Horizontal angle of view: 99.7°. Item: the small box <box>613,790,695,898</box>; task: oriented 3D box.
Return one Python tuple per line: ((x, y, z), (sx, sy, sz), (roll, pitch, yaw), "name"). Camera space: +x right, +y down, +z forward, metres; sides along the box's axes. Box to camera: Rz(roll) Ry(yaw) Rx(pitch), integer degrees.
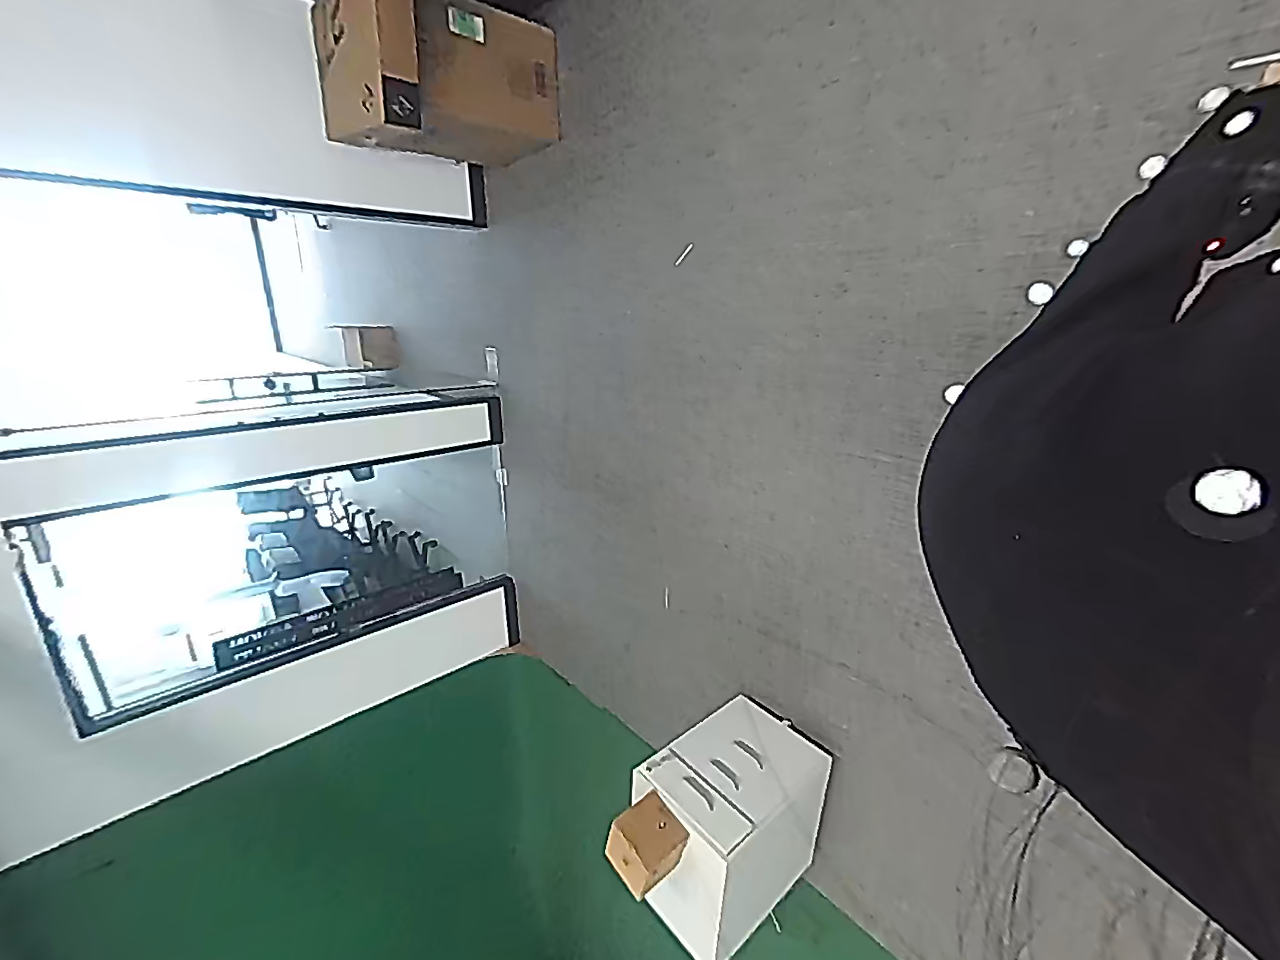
((0.043, 1.080, 1.614), (0.168, 0.176, 0.179), (36, 128, 38), "small box")
